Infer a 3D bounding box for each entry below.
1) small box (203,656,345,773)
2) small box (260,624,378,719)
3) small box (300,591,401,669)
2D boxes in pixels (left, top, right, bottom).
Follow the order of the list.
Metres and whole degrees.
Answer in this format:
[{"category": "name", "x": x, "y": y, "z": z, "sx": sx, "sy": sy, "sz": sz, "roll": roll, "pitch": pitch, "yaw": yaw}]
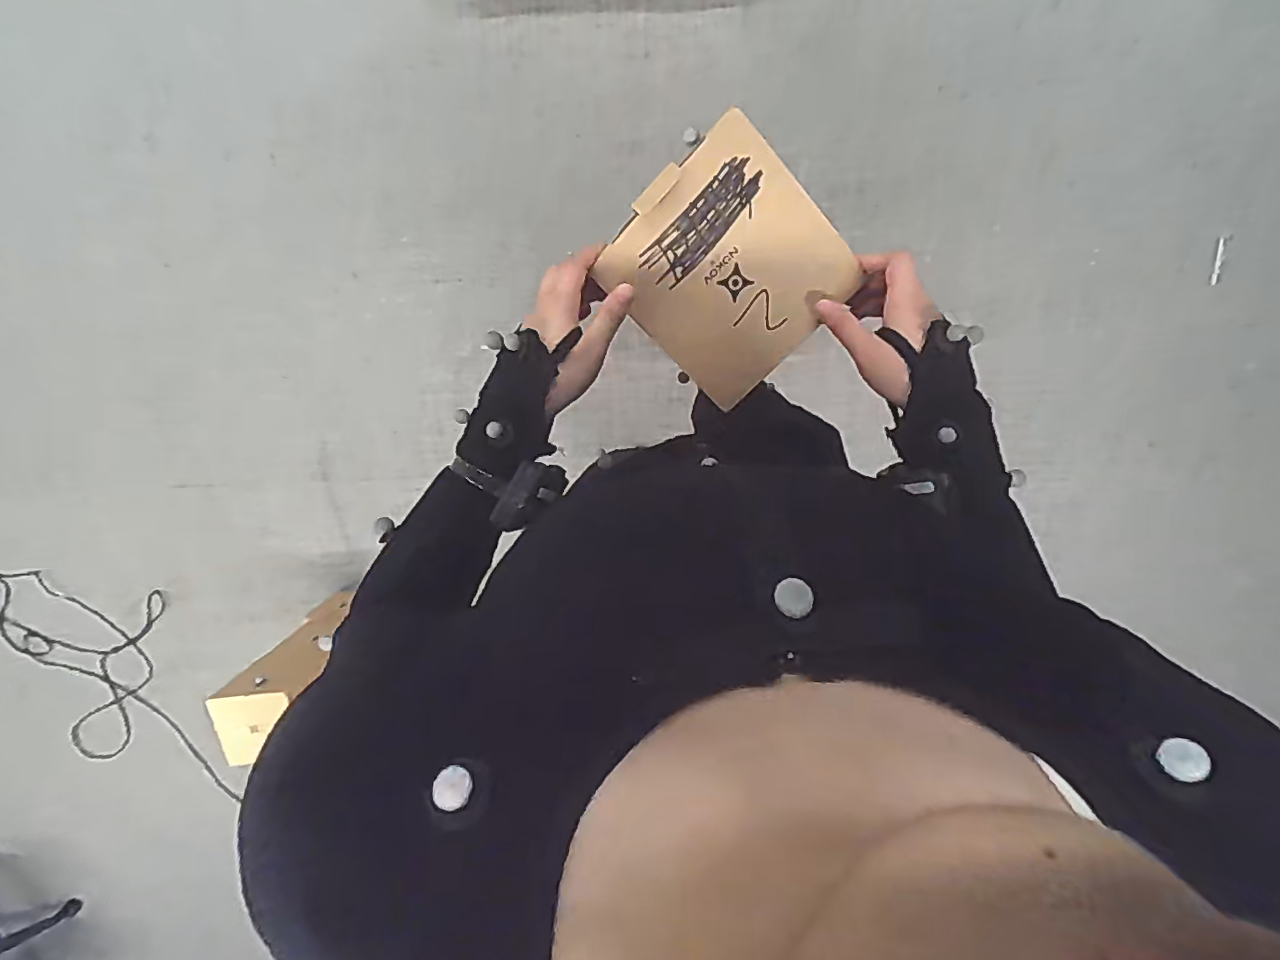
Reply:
[{"category": "small box", "x": -0.797, "y": 0.510, "z": 1.195, "sx": 0.179, "sy": 0.176, "sz": 0.168, "roll": -8, "pitch": 103, "yaw": 3}, {"category": "small box", "x": -0.795, "y": 0.479, "z": 1.355, "sx": 0.179, "sy": 0.176, "sz": 0.168, "roll": -7, "pitch": 103, "yaw": 3}, {"category": "small box", "x": -0.795, "y": 0.425, "z": 1.510, "sx": 0.179, "sy": 0.176, "sz": 0.168, "roll": -10, "pitch": 102, "yaw": 5}]
